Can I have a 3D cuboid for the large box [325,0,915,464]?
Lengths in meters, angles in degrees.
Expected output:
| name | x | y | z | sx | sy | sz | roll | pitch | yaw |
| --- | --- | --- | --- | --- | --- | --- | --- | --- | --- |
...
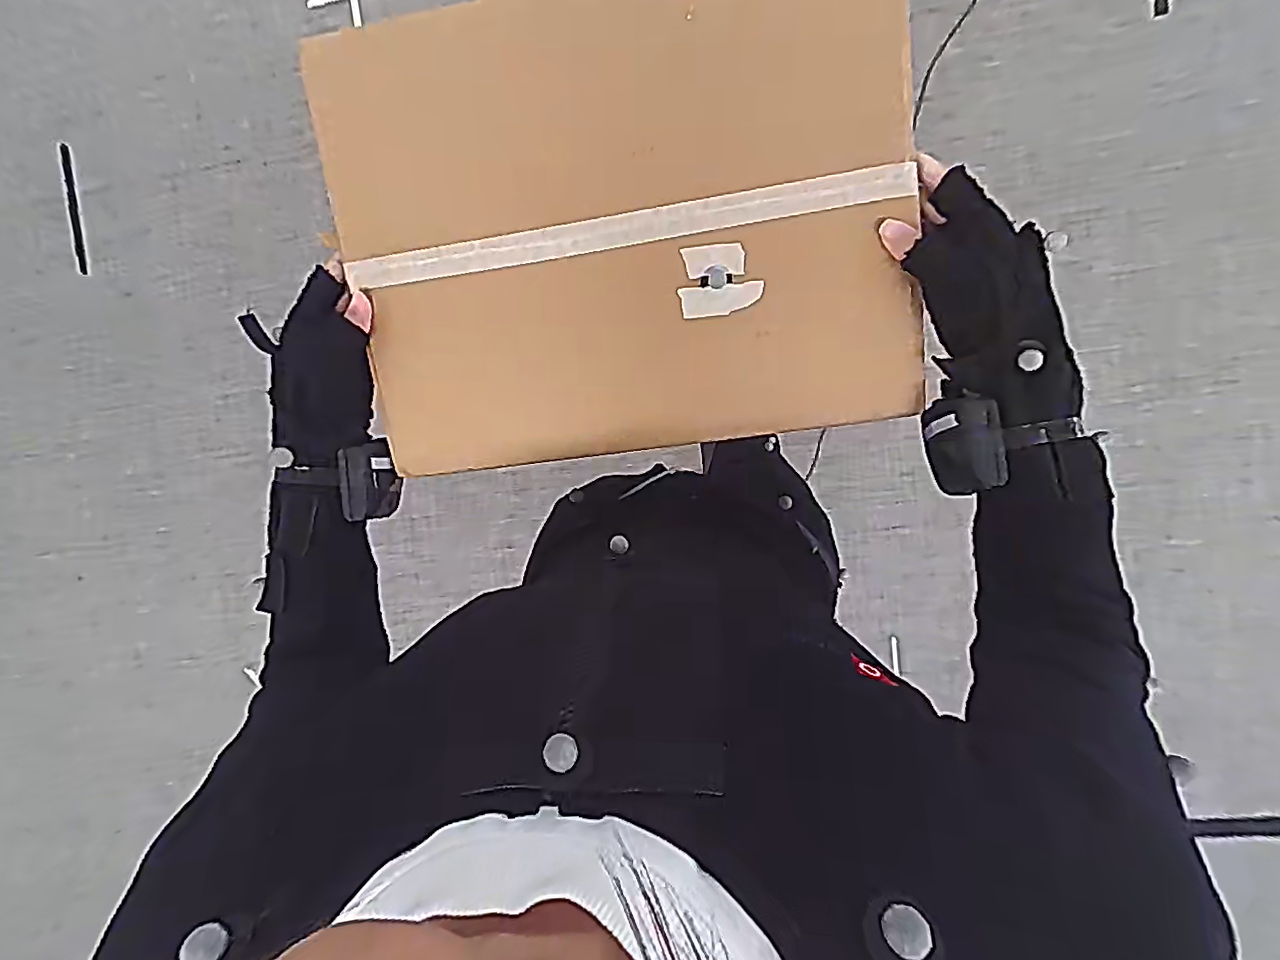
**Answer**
| name | x | y | z | sx | sy | sz | roll | pitch | yaw |
| --- | --- | --- | --- | --- | --- | --- | --- | --- | --- |
| large box | -0.003 | -0.216 | 0.542 | 0.408 | 0.320 | 0.320 | -7 | 102 | 6 |
